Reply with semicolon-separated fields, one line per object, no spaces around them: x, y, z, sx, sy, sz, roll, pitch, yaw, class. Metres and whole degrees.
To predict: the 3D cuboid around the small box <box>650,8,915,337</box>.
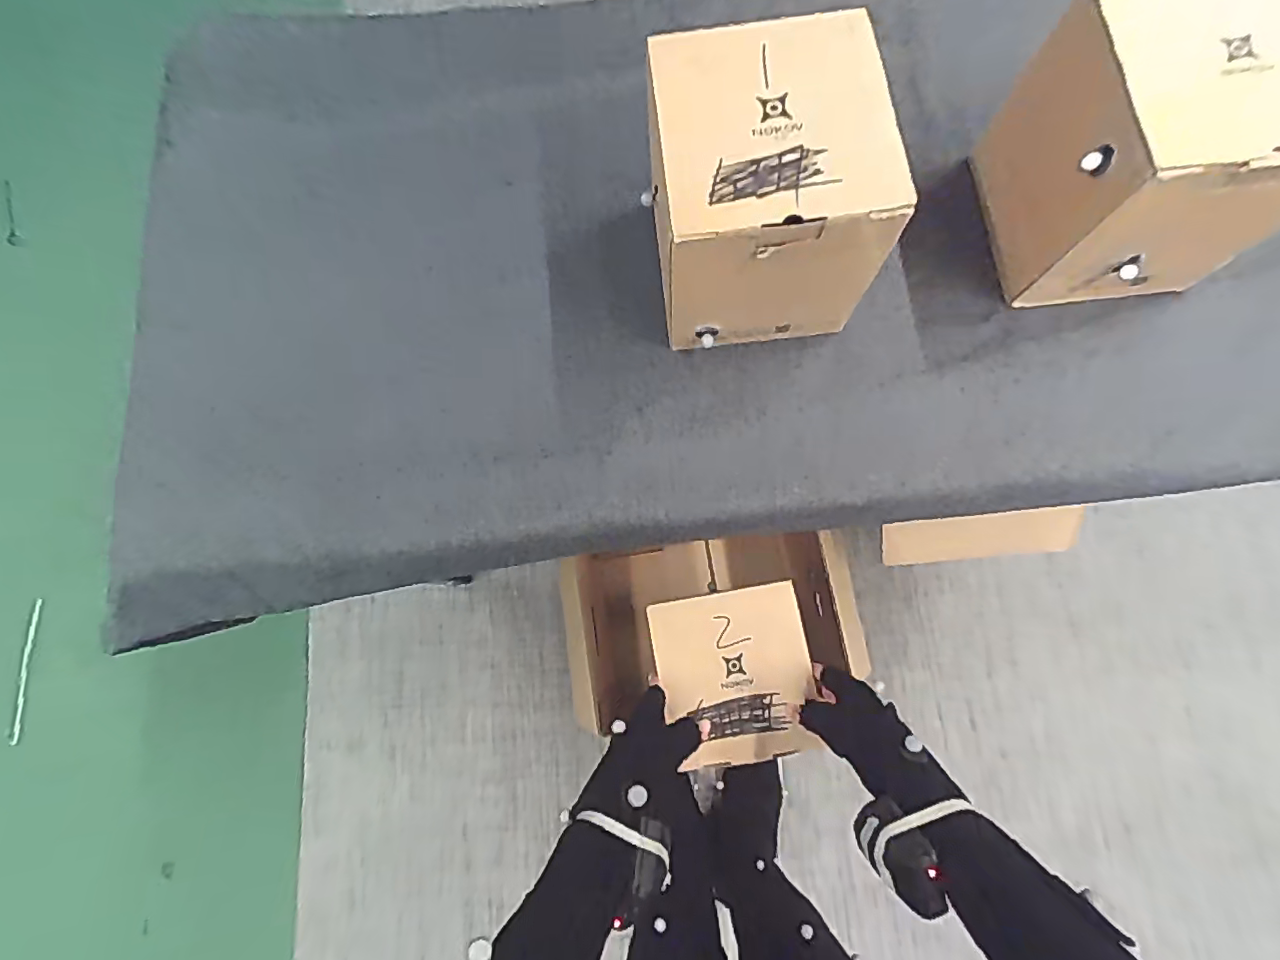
0.101;-0.235;0.456;0.168;0.176;0.179;-6;76;2;small box

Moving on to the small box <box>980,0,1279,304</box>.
0.419;-0.273;0.448;0.168;0.176;0.179;-6;77;2;small box
